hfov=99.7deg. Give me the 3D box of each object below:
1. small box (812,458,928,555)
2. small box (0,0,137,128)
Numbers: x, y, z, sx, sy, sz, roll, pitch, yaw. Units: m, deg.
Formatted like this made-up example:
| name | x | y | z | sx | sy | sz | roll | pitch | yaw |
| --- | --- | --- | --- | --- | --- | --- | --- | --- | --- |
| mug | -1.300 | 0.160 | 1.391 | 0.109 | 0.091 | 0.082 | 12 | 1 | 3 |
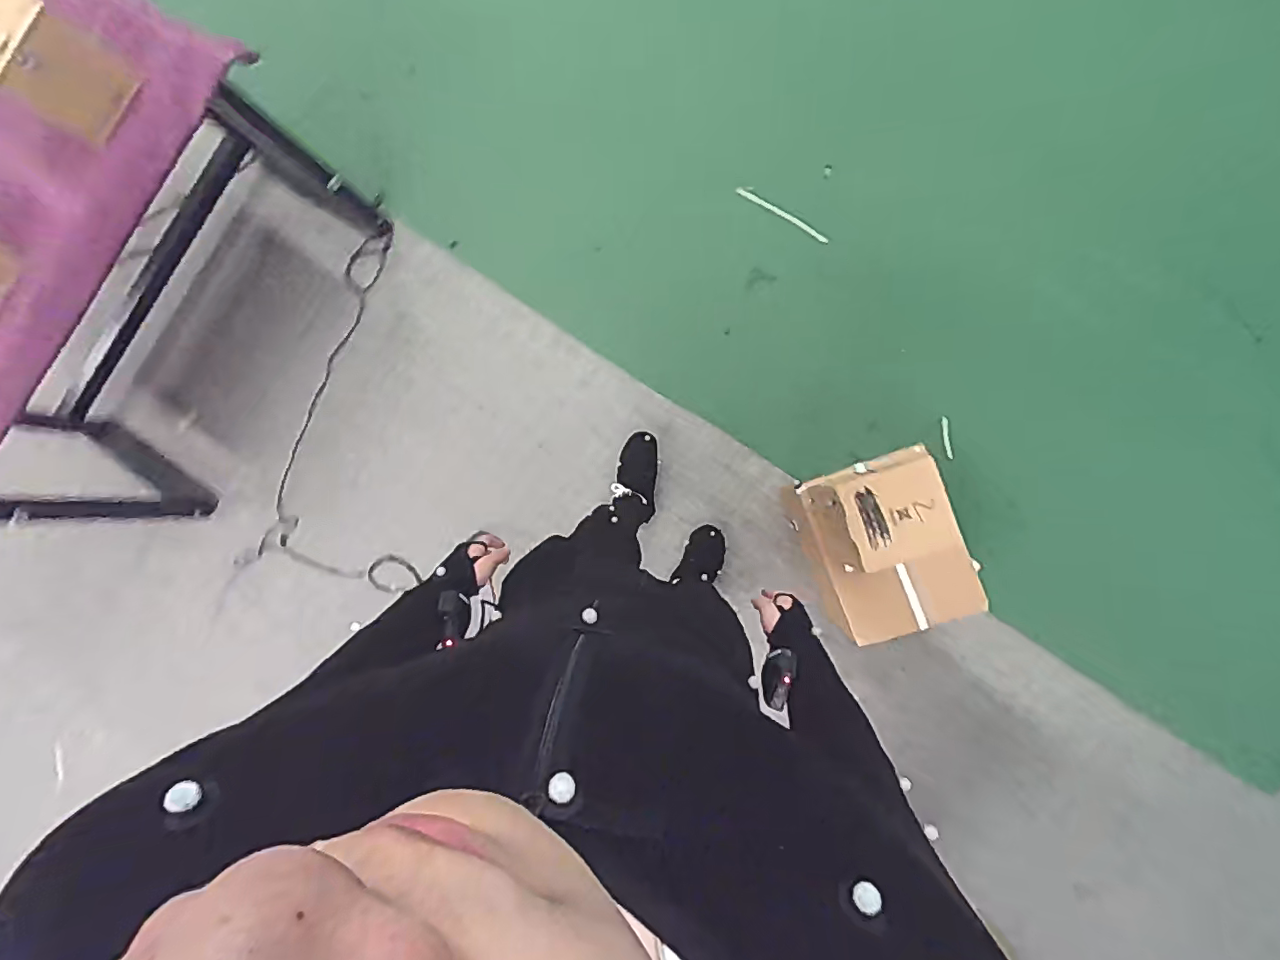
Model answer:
| name | x | y | z | sx | sy | sz | roll | pitch | yaw |
| --- | --- | --- | --- | --- | --- | --- | --- | --- | --- |
| small box | 0.490 | 0.059 | 1.184 | 0.179 | 0.176 | 0.168 | -16 | 87 | 6 |
| small box | -1.109 | -0.804 | 1.000 | 0.179 | 0.176 | 0.168 | 36 | 93 | 9 |
